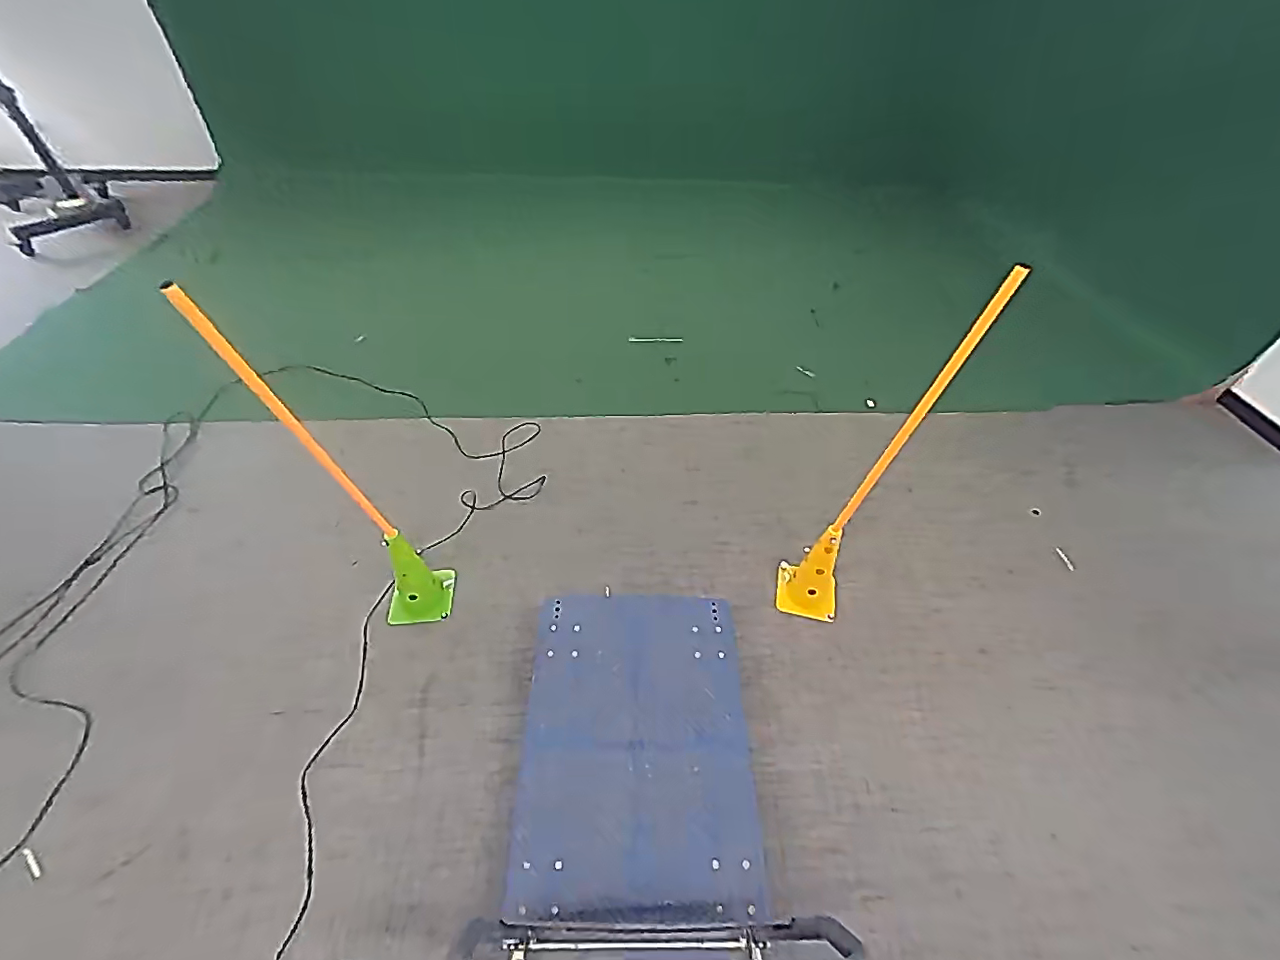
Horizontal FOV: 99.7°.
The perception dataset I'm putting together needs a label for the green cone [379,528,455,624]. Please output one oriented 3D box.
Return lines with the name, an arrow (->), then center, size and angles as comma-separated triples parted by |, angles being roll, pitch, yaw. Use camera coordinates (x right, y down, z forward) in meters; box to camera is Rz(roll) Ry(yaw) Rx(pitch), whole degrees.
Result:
green cone -> -0.745, 0.276, 1.728 | 0.202, 0.368, 0.200 | -5, 47, -5
